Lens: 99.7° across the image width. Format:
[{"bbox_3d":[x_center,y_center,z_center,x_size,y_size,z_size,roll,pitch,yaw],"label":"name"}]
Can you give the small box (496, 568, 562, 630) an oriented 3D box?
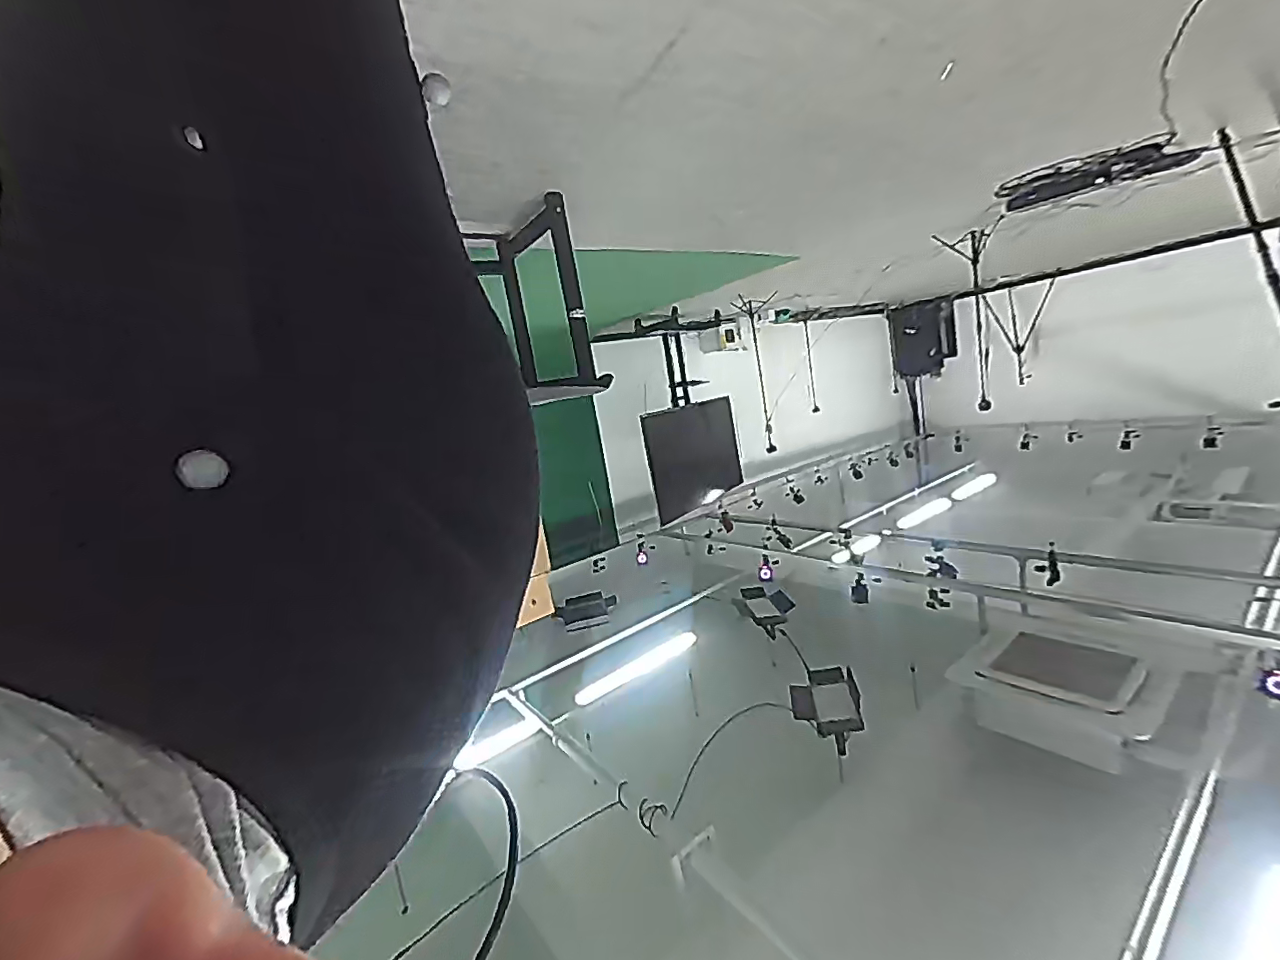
[{"bbox_3d":[-0.429,0.445,2.076,0.179,0.176,0.168,-19,-169,-32],"label":"small box"}]
